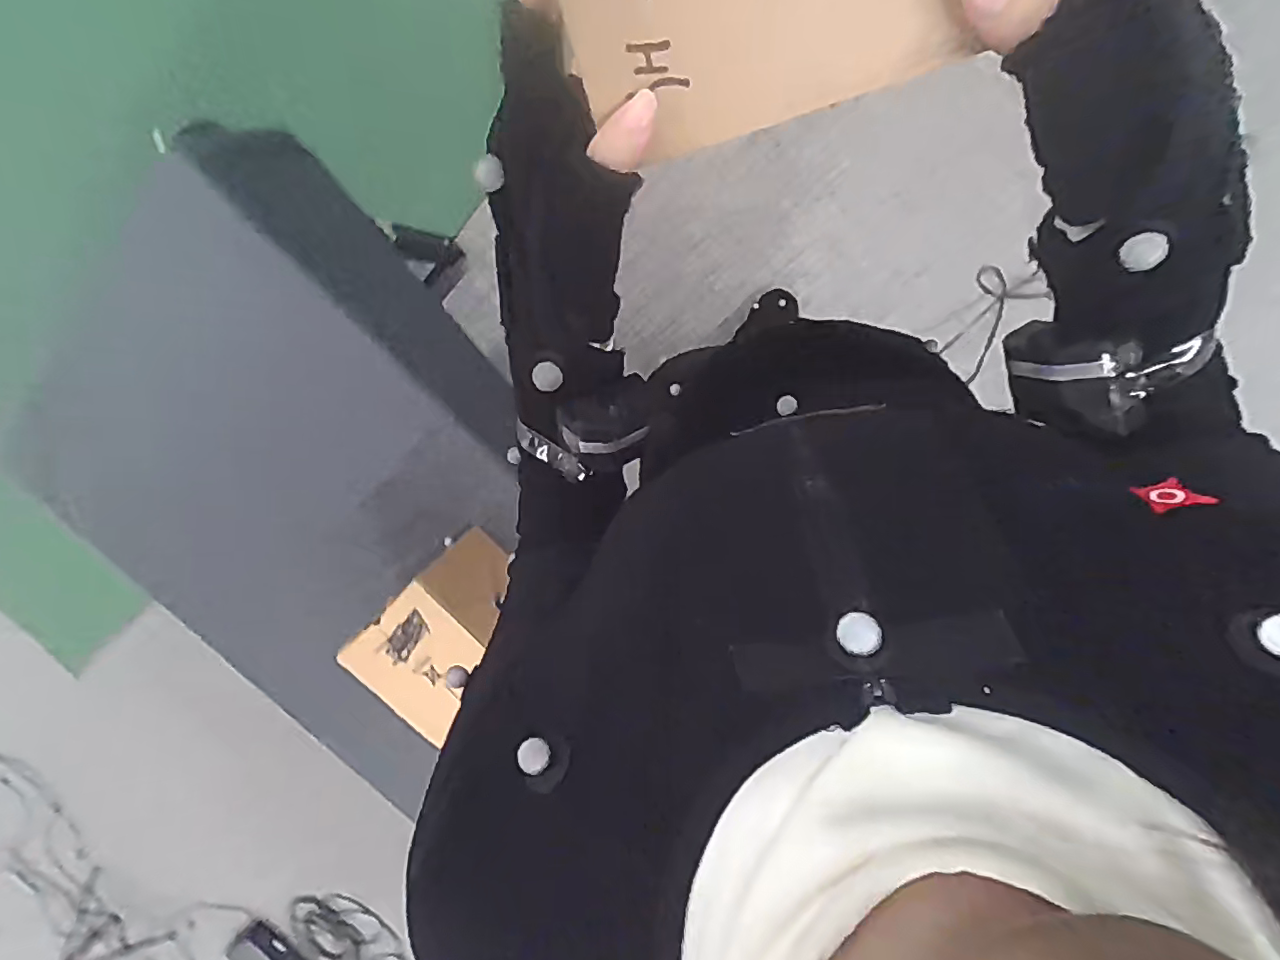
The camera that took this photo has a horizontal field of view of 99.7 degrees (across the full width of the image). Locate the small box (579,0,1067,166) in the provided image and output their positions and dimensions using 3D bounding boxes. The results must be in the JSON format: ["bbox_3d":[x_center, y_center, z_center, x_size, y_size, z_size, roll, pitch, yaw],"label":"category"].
[{"bbox_3d":[0.051,-0.261,0.218,0.179,0.176,0.168,-12,133,9],"label":"small box"}]
